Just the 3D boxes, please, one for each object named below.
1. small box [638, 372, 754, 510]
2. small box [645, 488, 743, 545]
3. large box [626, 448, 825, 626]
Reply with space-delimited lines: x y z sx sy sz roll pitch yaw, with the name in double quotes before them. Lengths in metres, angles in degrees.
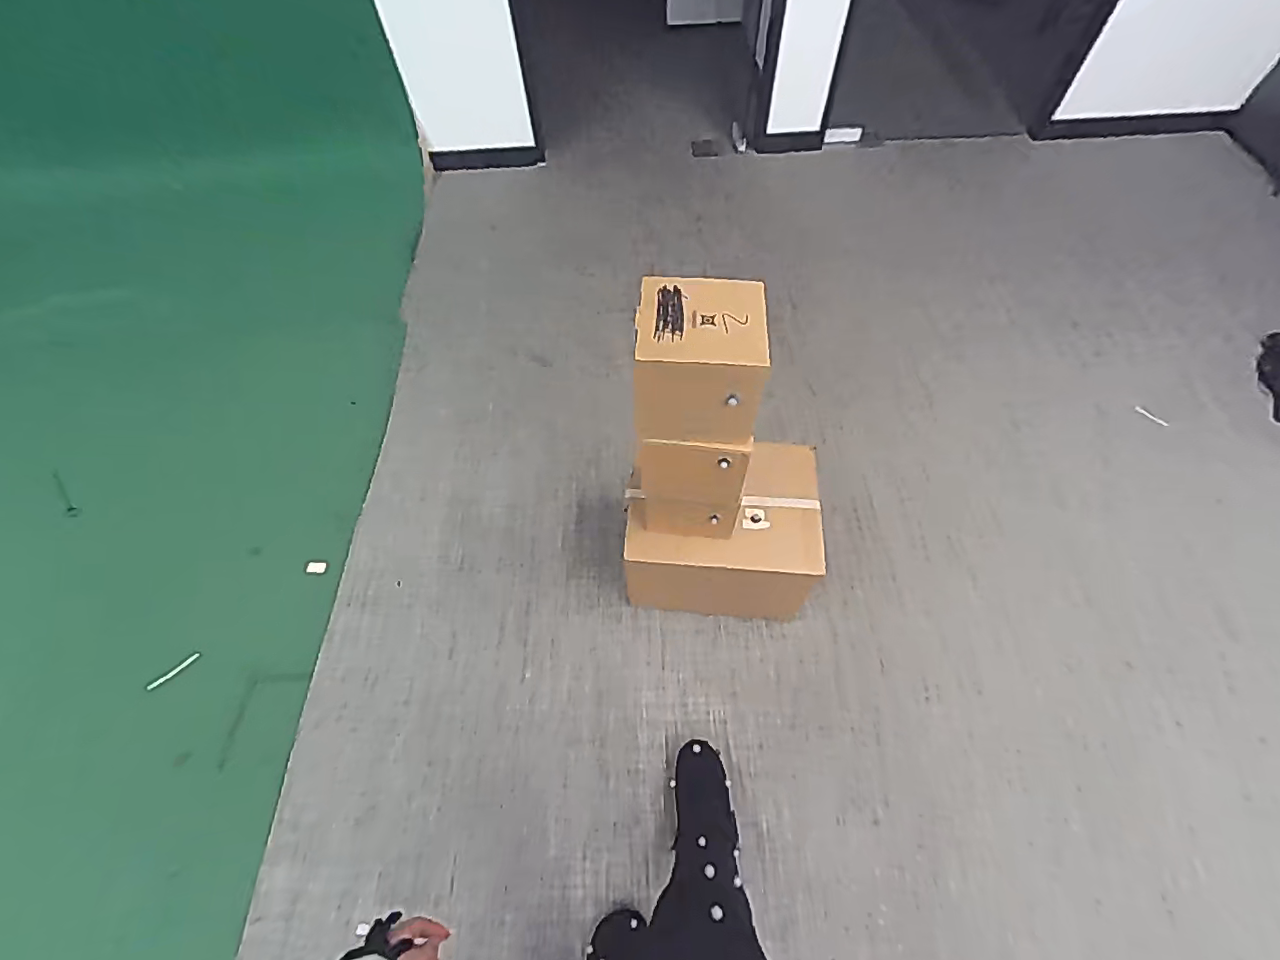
"small box" 0.094 -0.062 0.926 0.179 0.176 0.168 6 57 4
"small box" 0.104 0.019 1.067 0.179 0.176 0.168 3 57 4
"large box" 0.179 0.139 1.275 0.408 0.320 0.320 4 60 3
